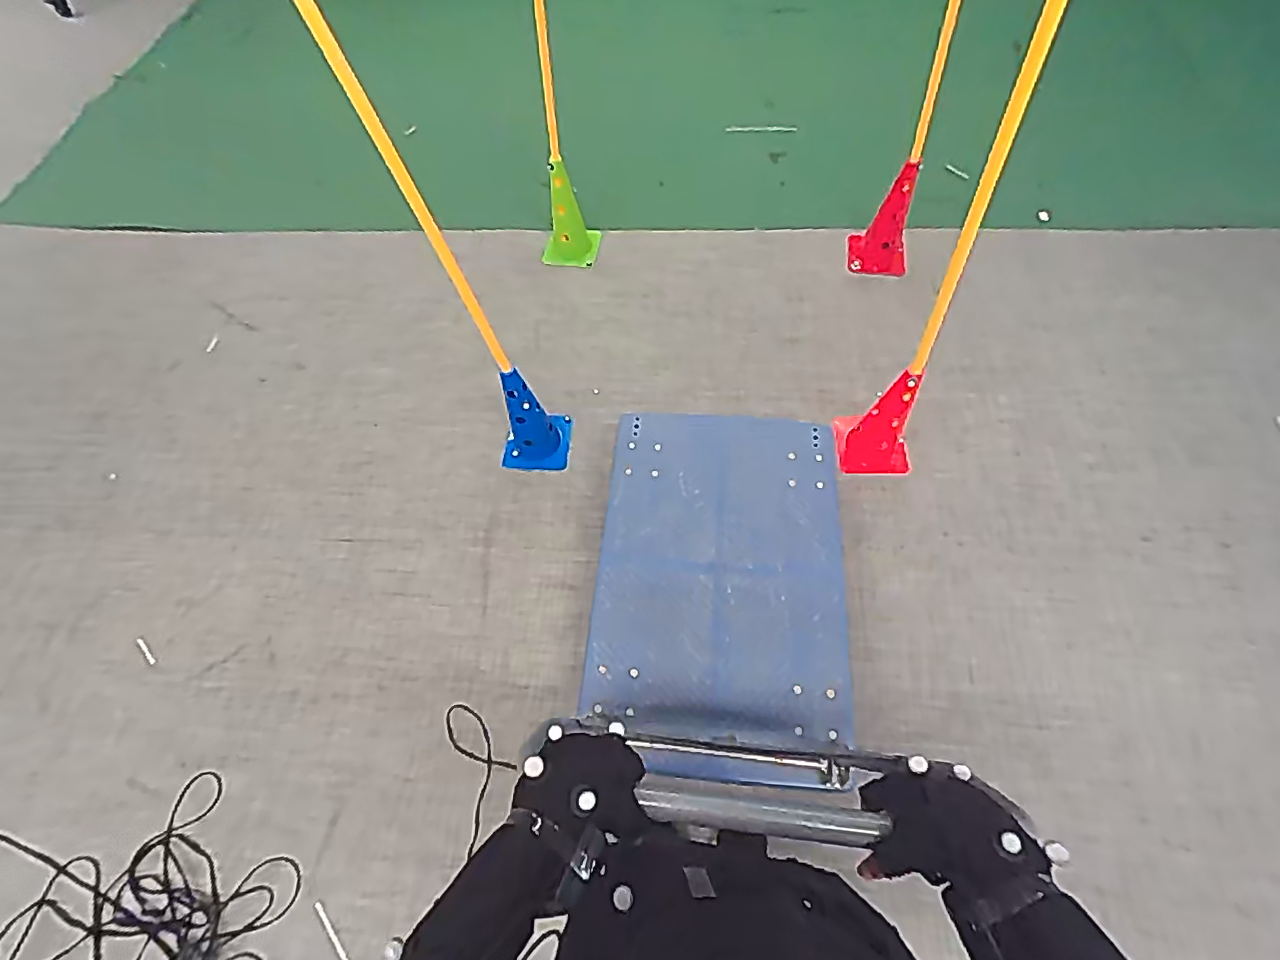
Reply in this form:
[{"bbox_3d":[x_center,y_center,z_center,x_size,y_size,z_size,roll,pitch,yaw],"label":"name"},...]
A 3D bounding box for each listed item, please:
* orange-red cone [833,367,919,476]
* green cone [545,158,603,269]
[{"bbox_3d":[0.676,-0.178,1.478,0.199,0.360,0.198,1,62,6],"label":"orange-red cone"},{"bbox_3d":[-0.266,-0.974,1.947,0.202,0.368,0.200,6,62,7],"label":"green cone"}]
